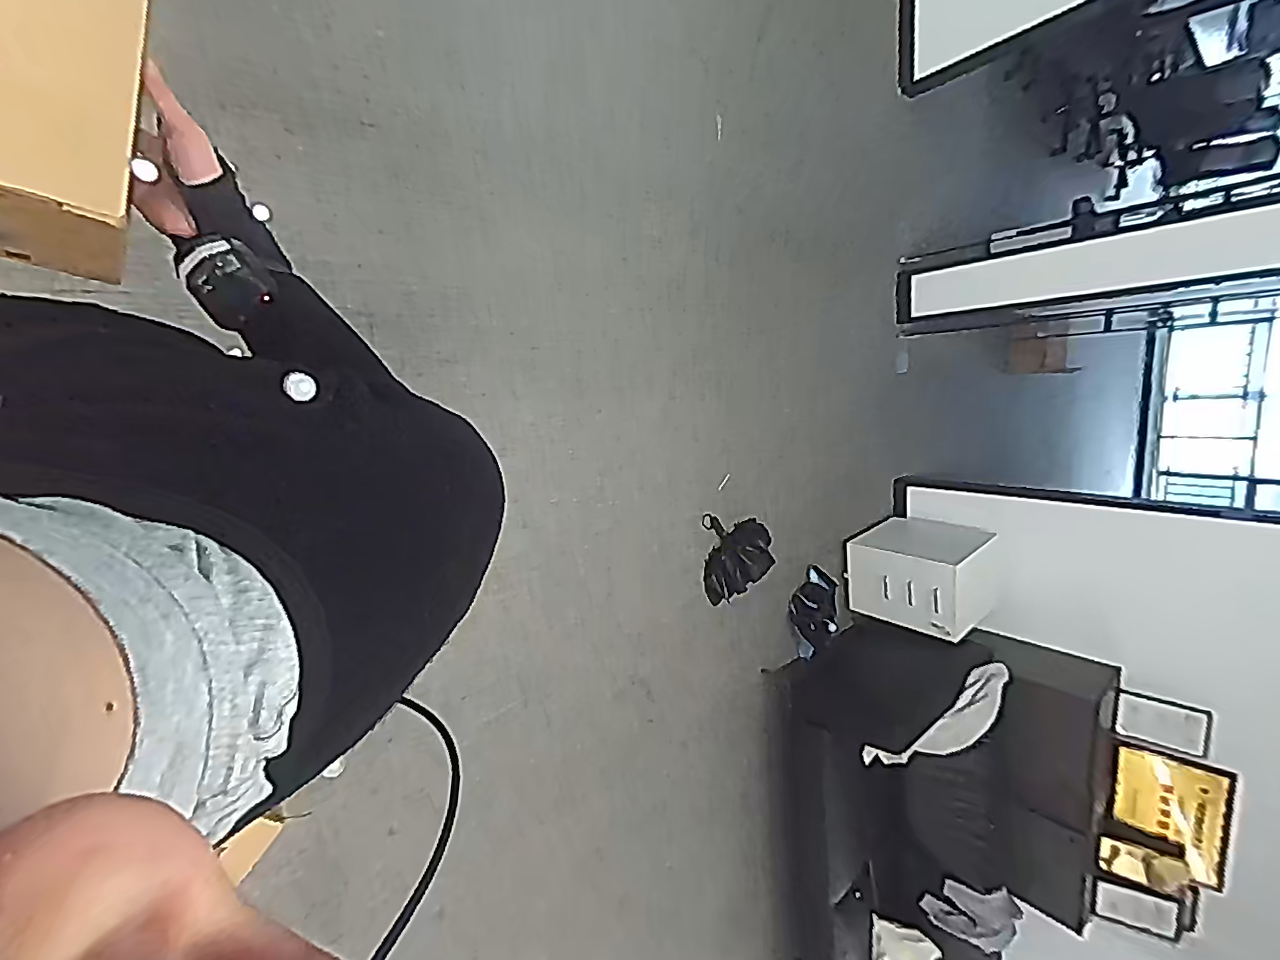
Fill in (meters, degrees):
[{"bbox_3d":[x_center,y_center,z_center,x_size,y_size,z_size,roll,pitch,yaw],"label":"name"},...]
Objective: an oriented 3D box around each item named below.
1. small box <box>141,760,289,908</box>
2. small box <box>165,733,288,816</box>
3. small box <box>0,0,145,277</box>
[{"bbox_3d":[-0.871,0.726,1.120,0.168,0.176,0.179,49,64,-32],"label":"small box"},{"bbox_3d":[-0.964,0.723,1.257,0.168,0.176,0.179,40,71,-35],"label":"small box"},{"bbox_3d":[-0.462,-0.262,0.374,0.168,0.176,0.179,5,88,-45],"label":"small box"}]
